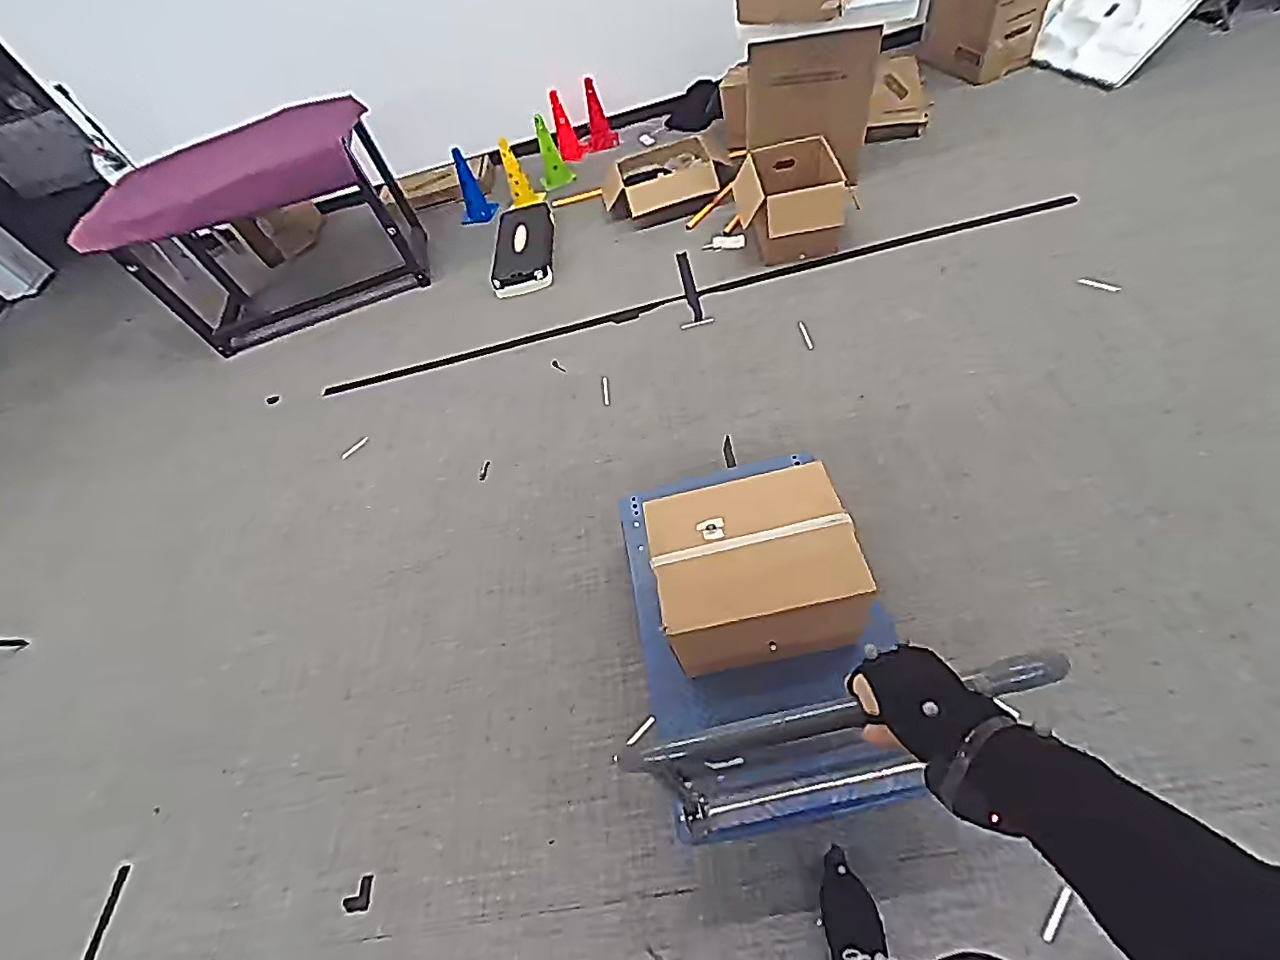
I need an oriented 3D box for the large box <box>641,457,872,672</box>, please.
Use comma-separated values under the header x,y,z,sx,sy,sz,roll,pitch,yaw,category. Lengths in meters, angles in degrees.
x,y,z,sx,sy,sz,roll,pitch,yaw,category
0.248,0.201,1.214,0.408,0.320,0.320,-15,52,6,large box
